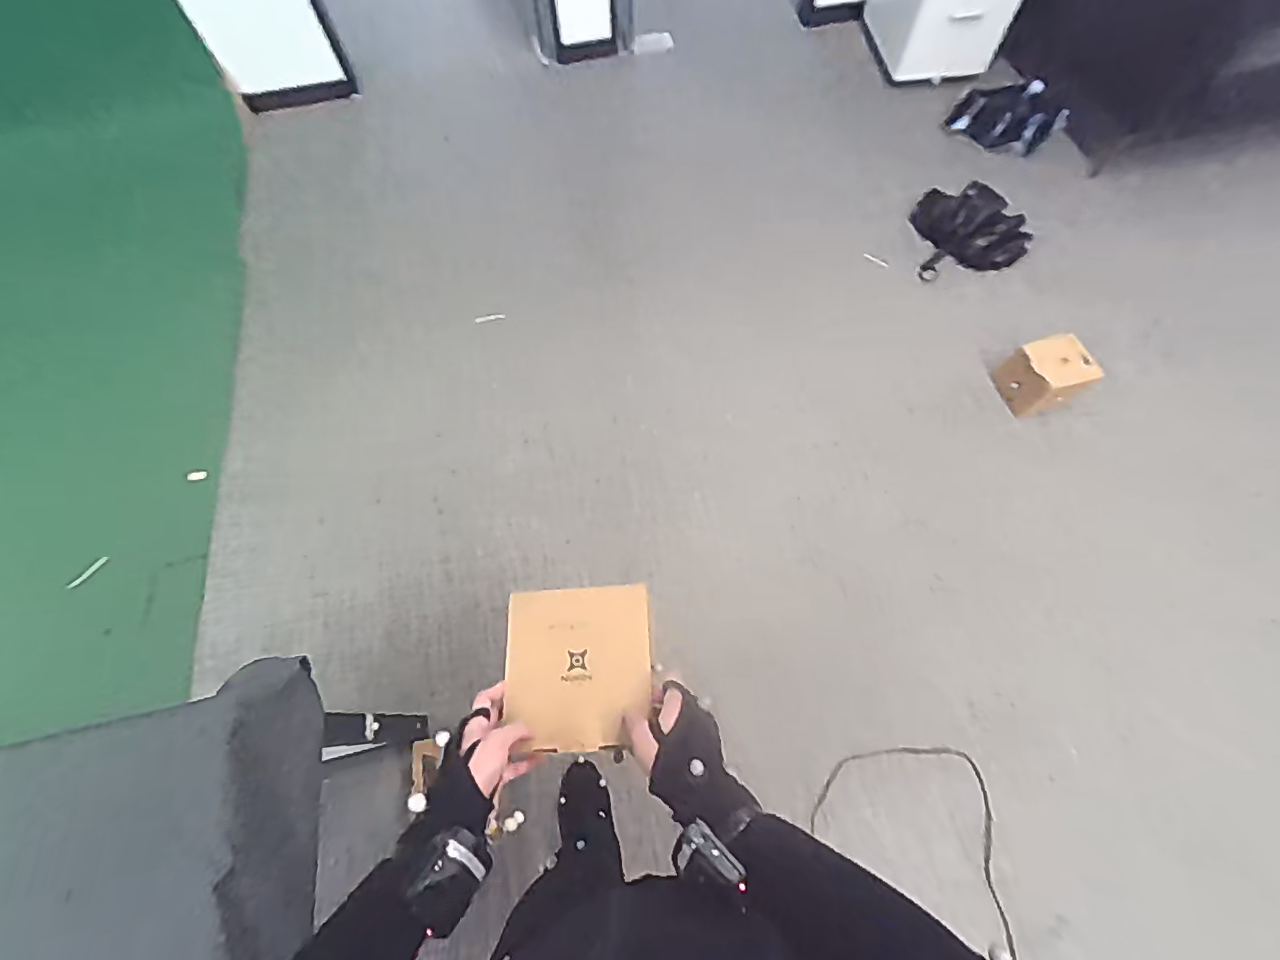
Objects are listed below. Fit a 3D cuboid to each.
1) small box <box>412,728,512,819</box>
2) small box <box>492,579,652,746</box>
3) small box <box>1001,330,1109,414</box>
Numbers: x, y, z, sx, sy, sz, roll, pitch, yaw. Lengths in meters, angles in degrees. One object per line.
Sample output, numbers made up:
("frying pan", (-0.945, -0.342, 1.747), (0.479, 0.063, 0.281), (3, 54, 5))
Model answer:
("small box", (-0.405, 0.677, 1.257), (0.179, 0.176, 0.168), (-6, 65, -2))
("small box", (-0.074, 0.234, 0.679), (0.168, 0.176, 0.179), (-4, 63, 2))
("small box", (1.246, -0.321, 1.646), (0.179, 0.176, 0.168), (-15, 66, -3))
